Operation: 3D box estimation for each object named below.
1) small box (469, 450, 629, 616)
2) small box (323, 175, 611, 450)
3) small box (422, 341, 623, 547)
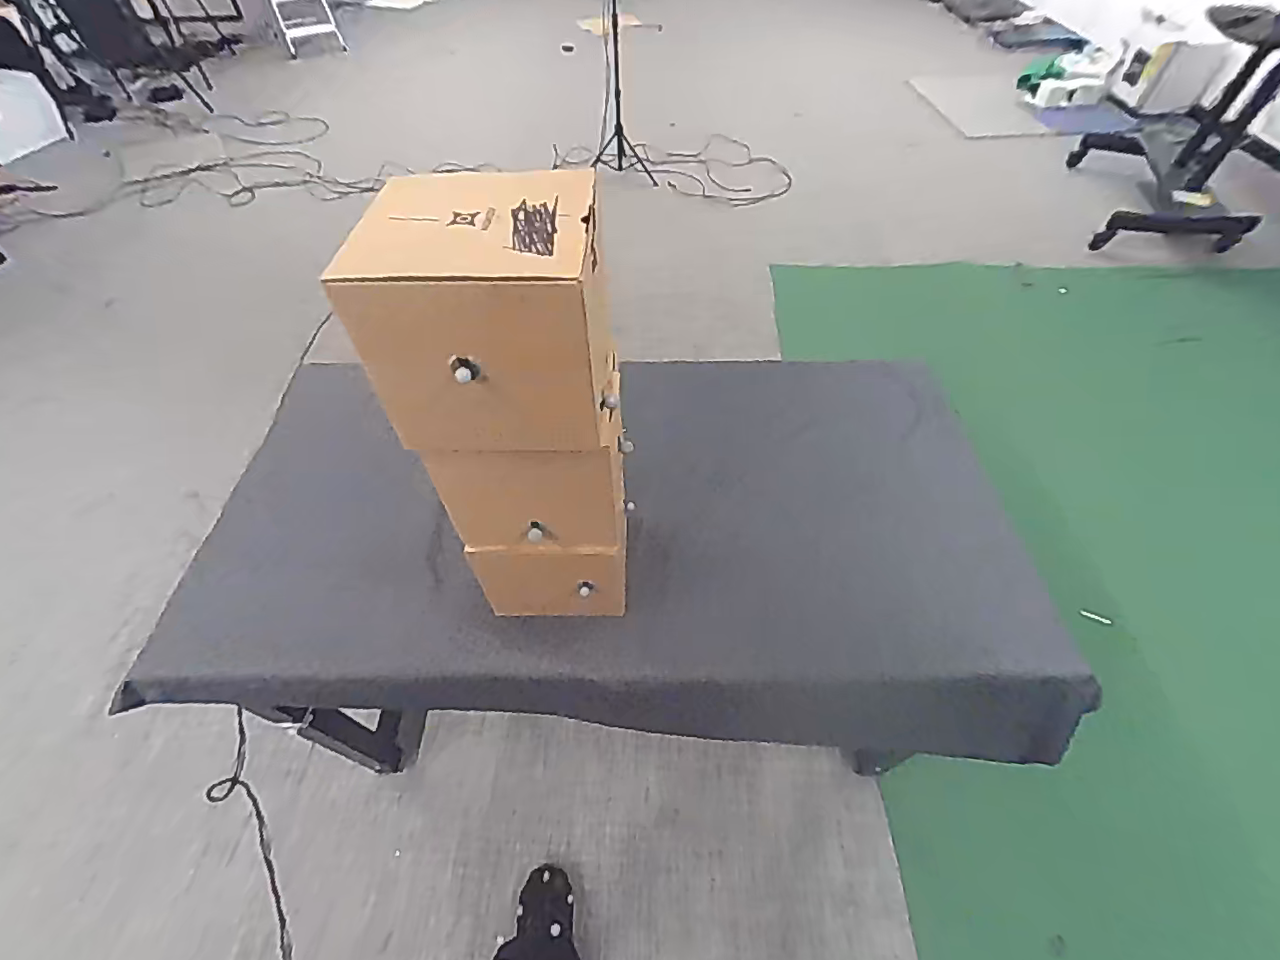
[{"bbox_3d":[-0.105,0.072,0.723,0.179,0.176,0.168,-2,50,2],"label":"small box"},{"bbox_3d":[-0.121,-0.140,0.469,0.179,0.176,0.168,3,49,3],"label":"small box"},{"bbox_3d":[-0.110,-0.037,0.601,0.179,0.176,0.168,0,51,1],"label":"small box"}]
